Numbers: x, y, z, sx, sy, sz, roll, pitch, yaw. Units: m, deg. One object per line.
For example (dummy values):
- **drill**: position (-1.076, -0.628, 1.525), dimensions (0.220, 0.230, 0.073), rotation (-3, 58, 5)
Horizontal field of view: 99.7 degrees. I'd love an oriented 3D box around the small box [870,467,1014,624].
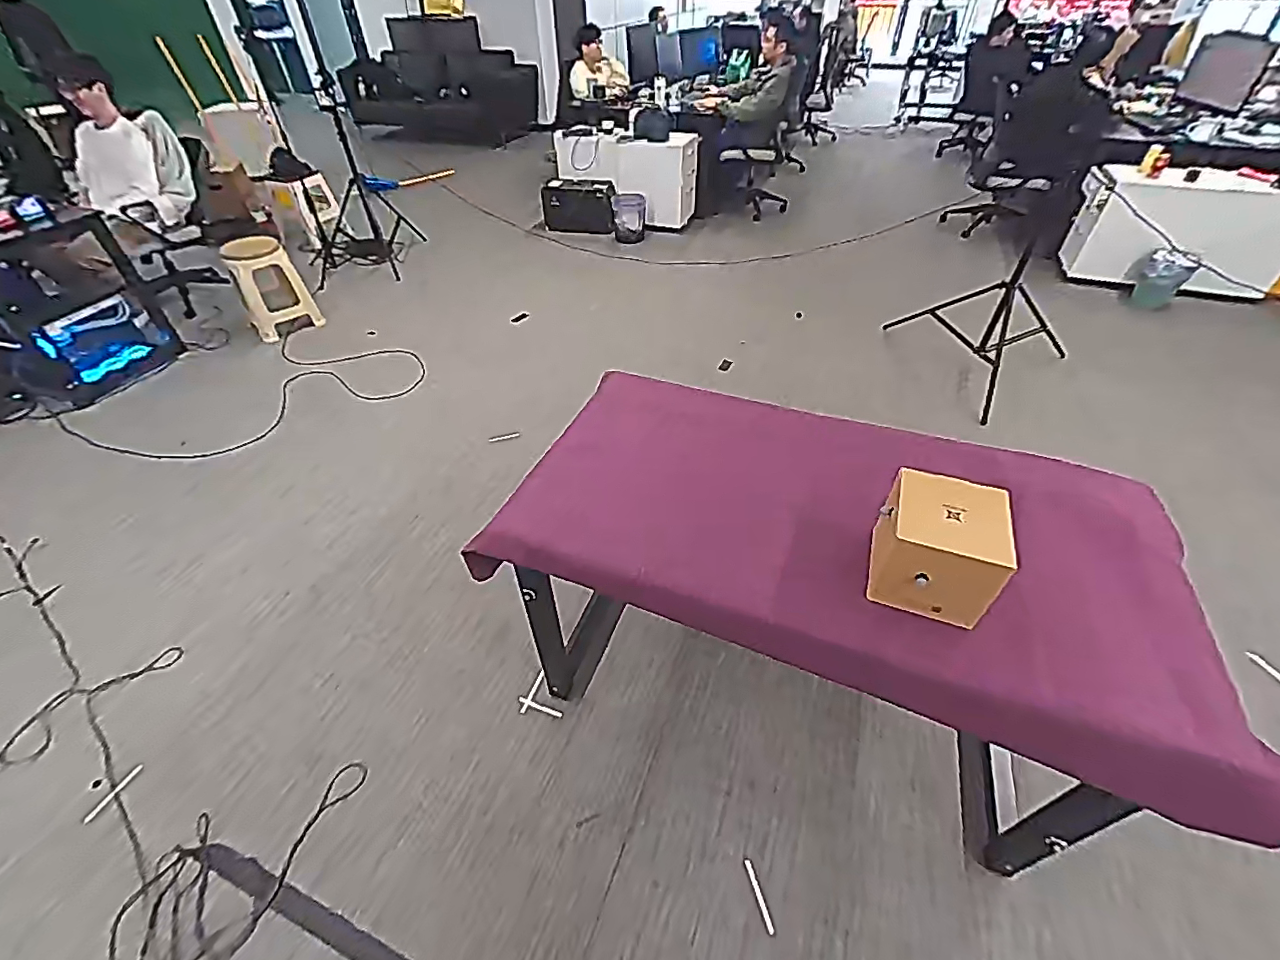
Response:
- **small box**: position (0.494, 0.111, 0.906), dimensions (0.168, 0.176, 0.179), rotation (14, 45, 16)
